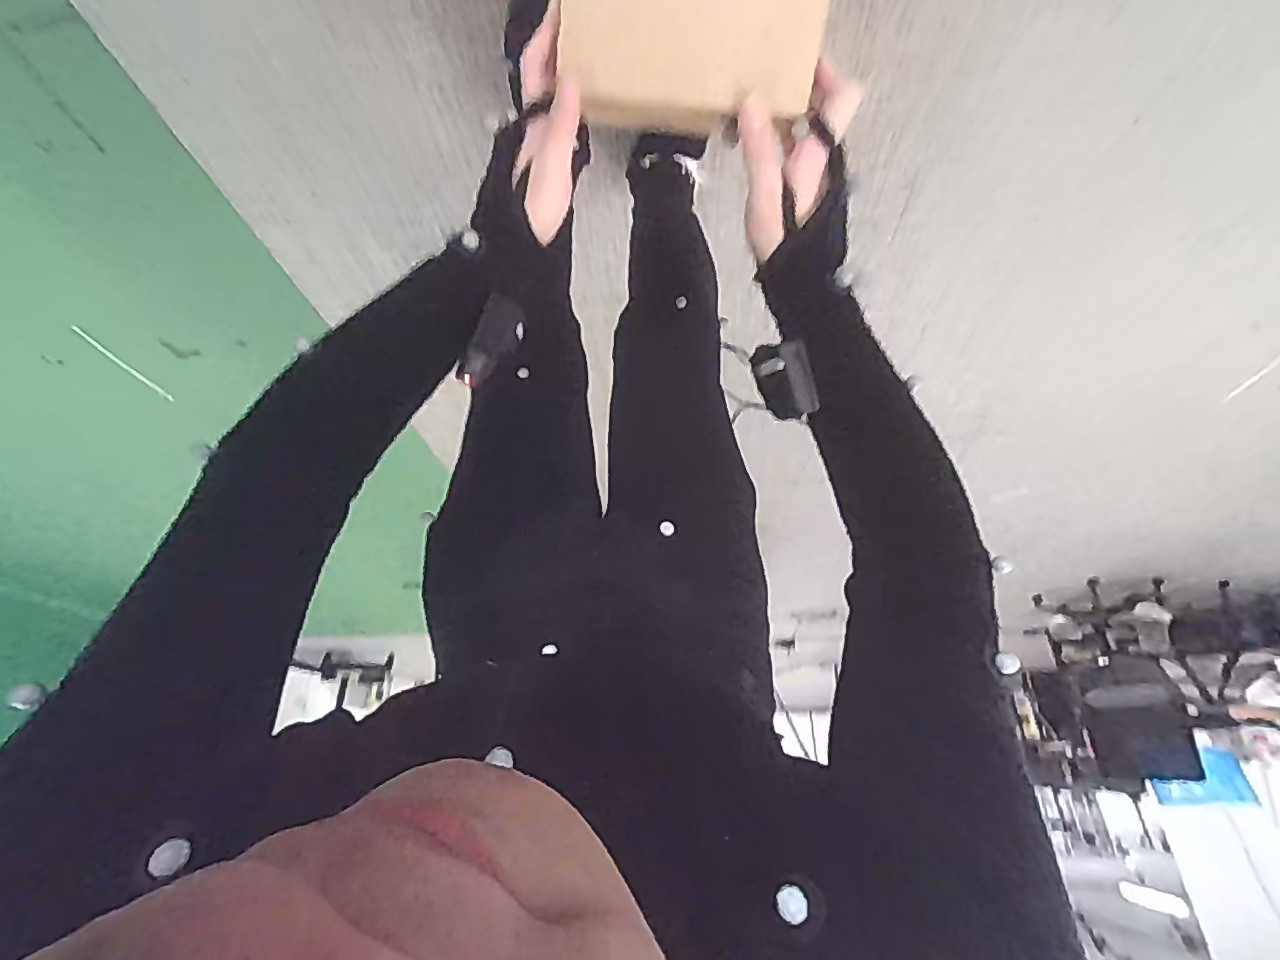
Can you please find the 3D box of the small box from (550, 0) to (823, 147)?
[{"bbox_3d":[0.035,-0.359,0.407,0.179,0.176,0.168,6,117,1],"label":"small box"}]

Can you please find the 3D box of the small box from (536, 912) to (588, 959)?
[{"bbox_3d":[-0.277,1.669,1.928,0.168,0.176,0.179,0,153,2],"label":"small box"}]
